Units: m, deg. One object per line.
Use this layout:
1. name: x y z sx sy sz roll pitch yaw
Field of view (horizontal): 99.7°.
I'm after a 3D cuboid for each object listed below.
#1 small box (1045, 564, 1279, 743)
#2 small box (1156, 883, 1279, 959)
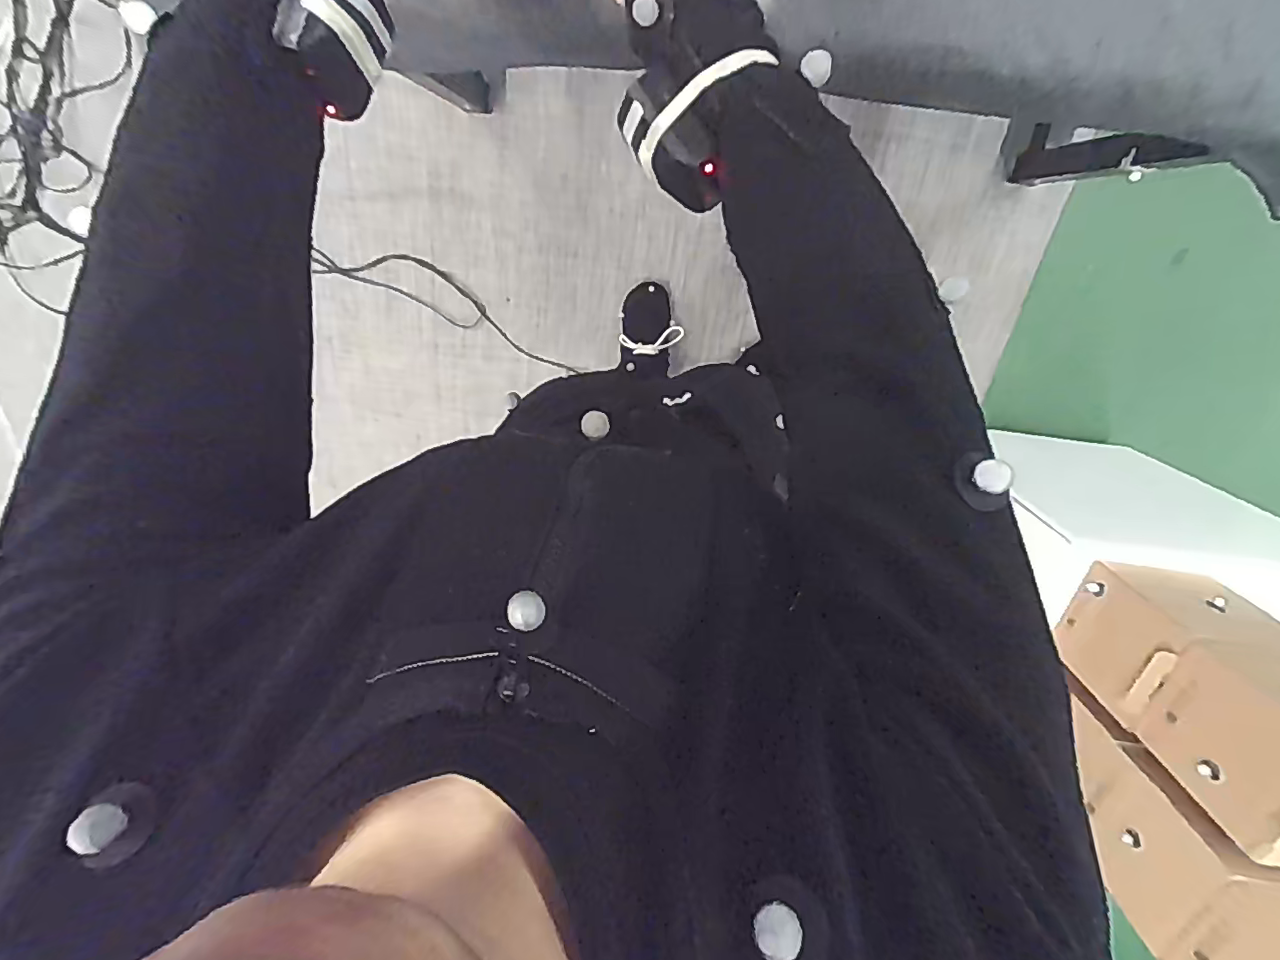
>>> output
1. small box: 0.733 0.237 0.765 0.179 0.176 0.168 7 116 -2
2. small box: 0.705 0.545 0.545 0.179 0.176 0.168 6 114 -2
